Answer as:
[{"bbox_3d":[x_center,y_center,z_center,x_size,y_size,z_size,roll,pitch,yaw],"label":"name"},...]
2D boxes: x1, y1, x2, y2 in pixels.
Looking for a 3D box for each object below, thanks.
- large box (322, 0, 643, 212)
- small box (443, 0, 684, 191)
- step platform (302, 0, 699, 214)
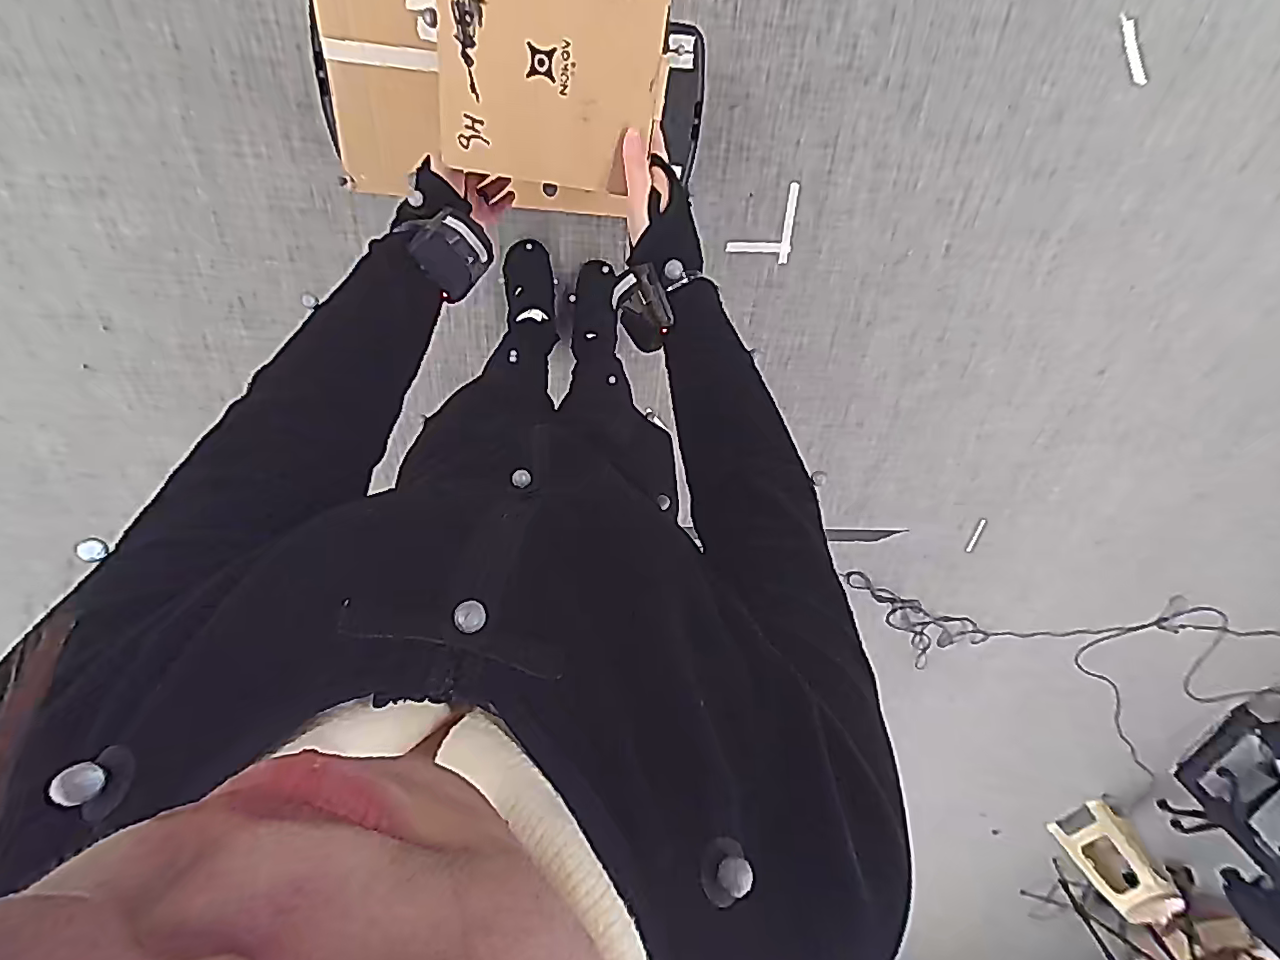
[{"bbox_3d":[-0.193,-0.601,0.806,0.408,0.320,0.320,2,121,-7],"label":"large box"},{"bbox_3d":[-0.070,-0.368,0.481,0.179,0.176,0.168,4,120,-10],"label":"small box"},{"bbox_3d":[-0.235,-0.713,1.013,0.684,0.204,0.286,7,121,-10],"label":"step platform"}]
